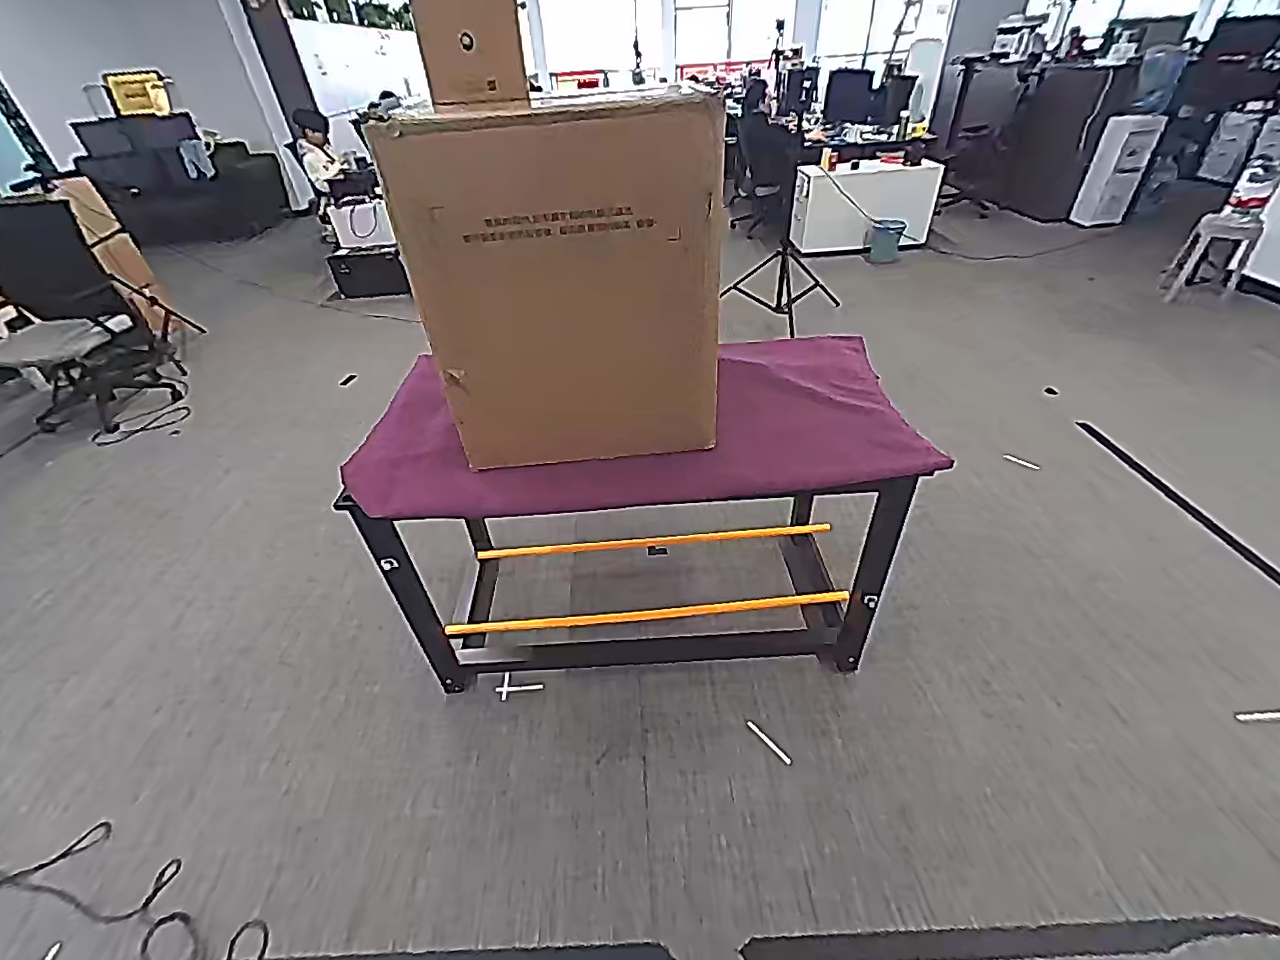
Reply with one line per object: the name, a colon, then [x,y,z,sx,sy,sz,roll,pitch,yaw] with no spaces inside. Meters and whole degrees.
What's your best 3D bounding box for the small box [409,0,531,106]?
small box: [-0.282,-0.748,0.927,0.168,0.176,0.179,-8,39,-7]
